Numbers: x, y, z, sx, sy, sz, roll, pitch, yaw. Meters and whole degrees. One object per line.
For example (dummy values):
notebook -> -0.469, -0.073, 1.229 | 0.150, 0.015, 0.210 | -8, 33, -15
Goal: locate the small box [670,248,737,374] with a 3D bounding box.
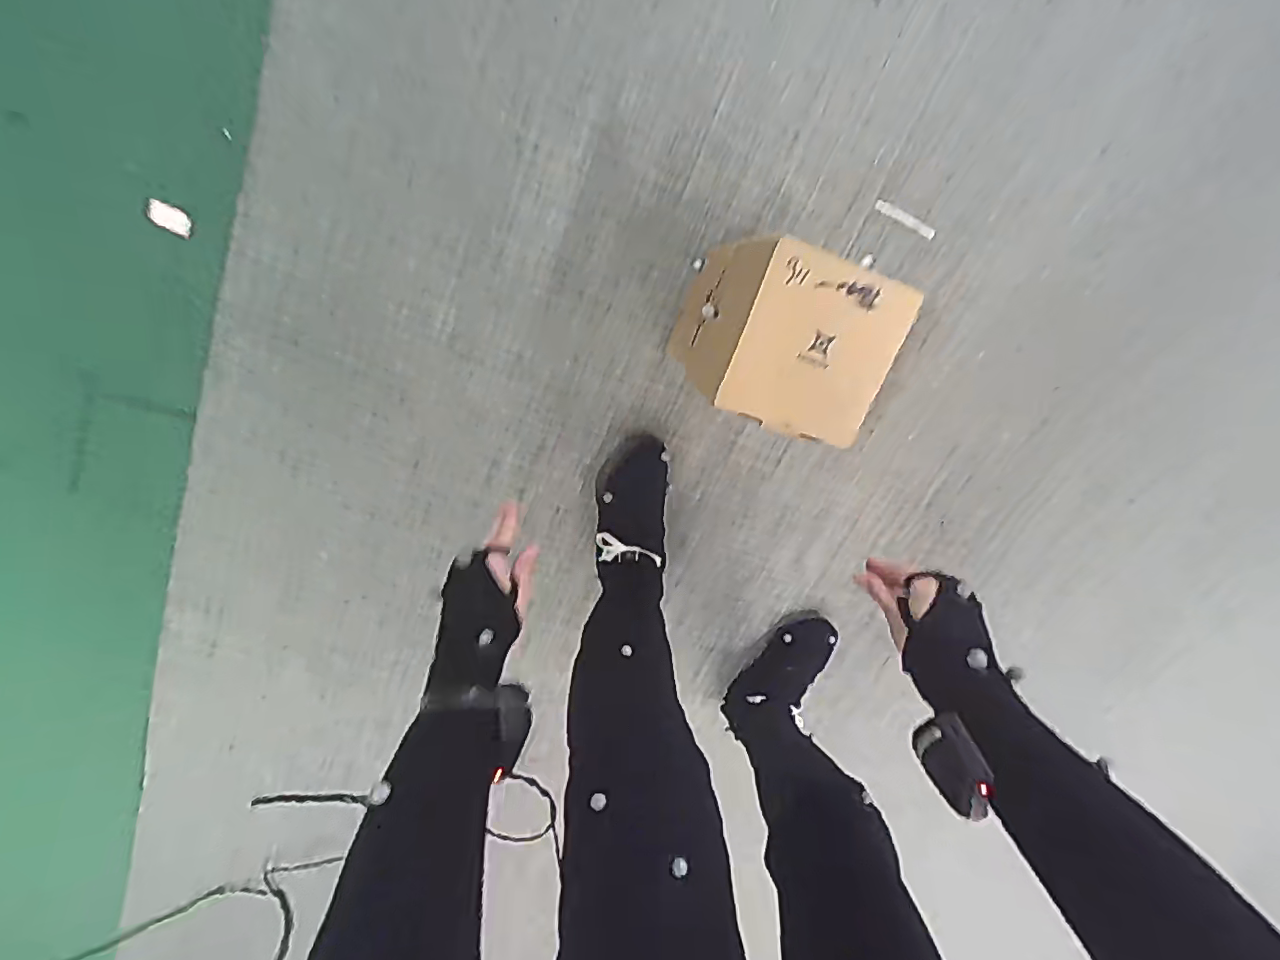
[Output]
small box -> 0.158, -0.215, 0.780 | 0.179, 0.176, 0.168 | 19, 109, -13

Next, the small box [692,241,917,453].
small box -> 0.170, -0.158, 0.627 | 0.168, 0.176, 0.179 | 16, 110, -12
